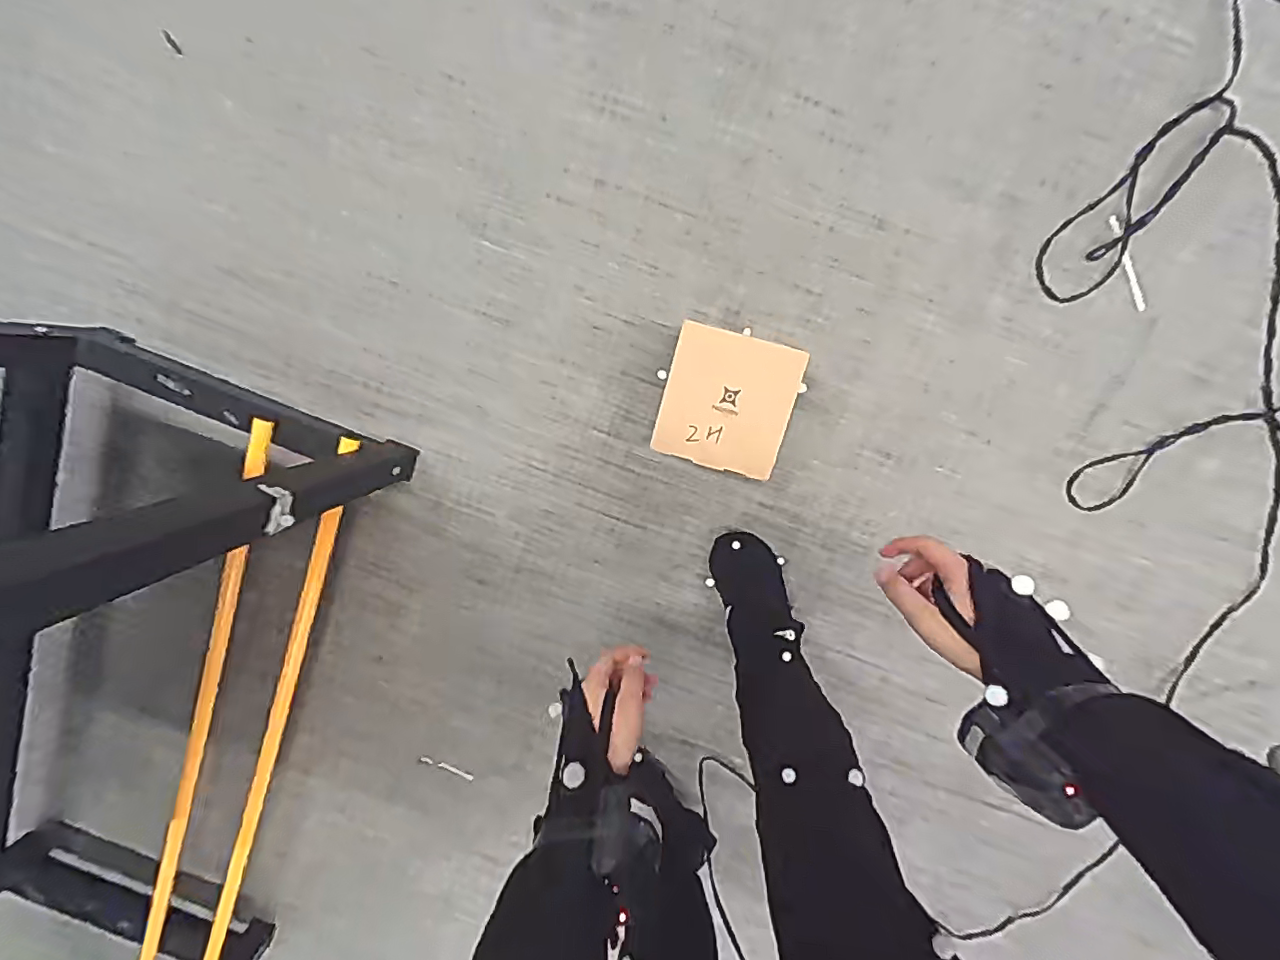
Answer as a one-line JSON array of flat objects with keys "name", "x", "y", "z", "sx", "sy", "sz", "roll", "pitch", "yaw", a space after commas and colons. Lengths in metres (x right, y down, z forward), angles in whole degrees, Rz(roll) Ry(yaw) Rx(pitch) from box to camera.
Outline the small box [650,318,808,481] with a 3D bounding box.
[{"name": "small box", "x": 0.118, "y": -0.117, "z": 0.774, "sx": 0.168, "sy": 0.176, "sz": 0.179, "roll": 16, "pitch": 102, "yaw": 2}]
